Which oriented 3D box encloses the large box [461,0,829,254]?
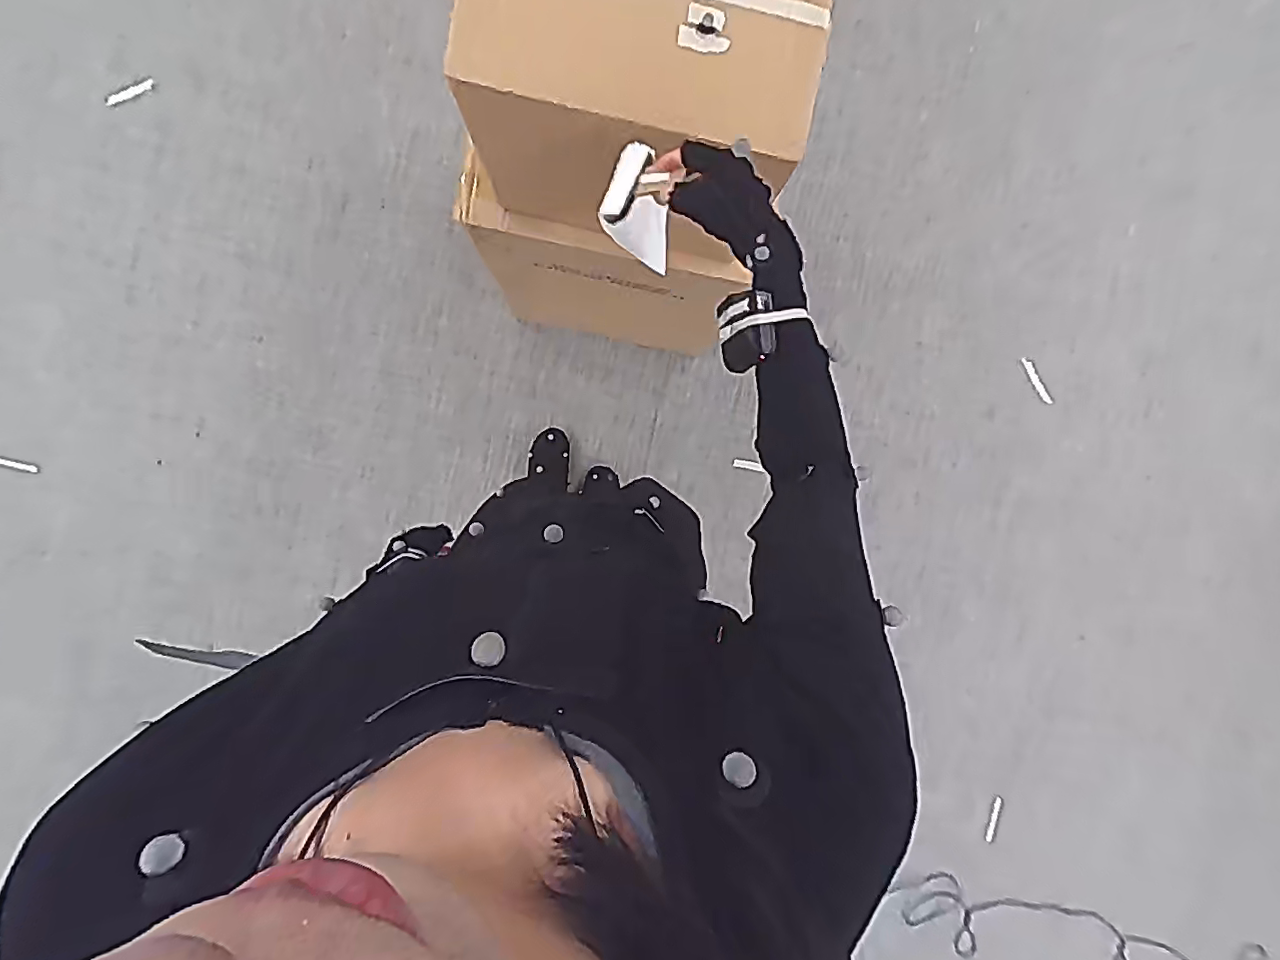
[{"bbox_3d":[0.006,-0.561,0.758,0.408,0.320,0.320,11,91,-5],"label":"large box"}]
